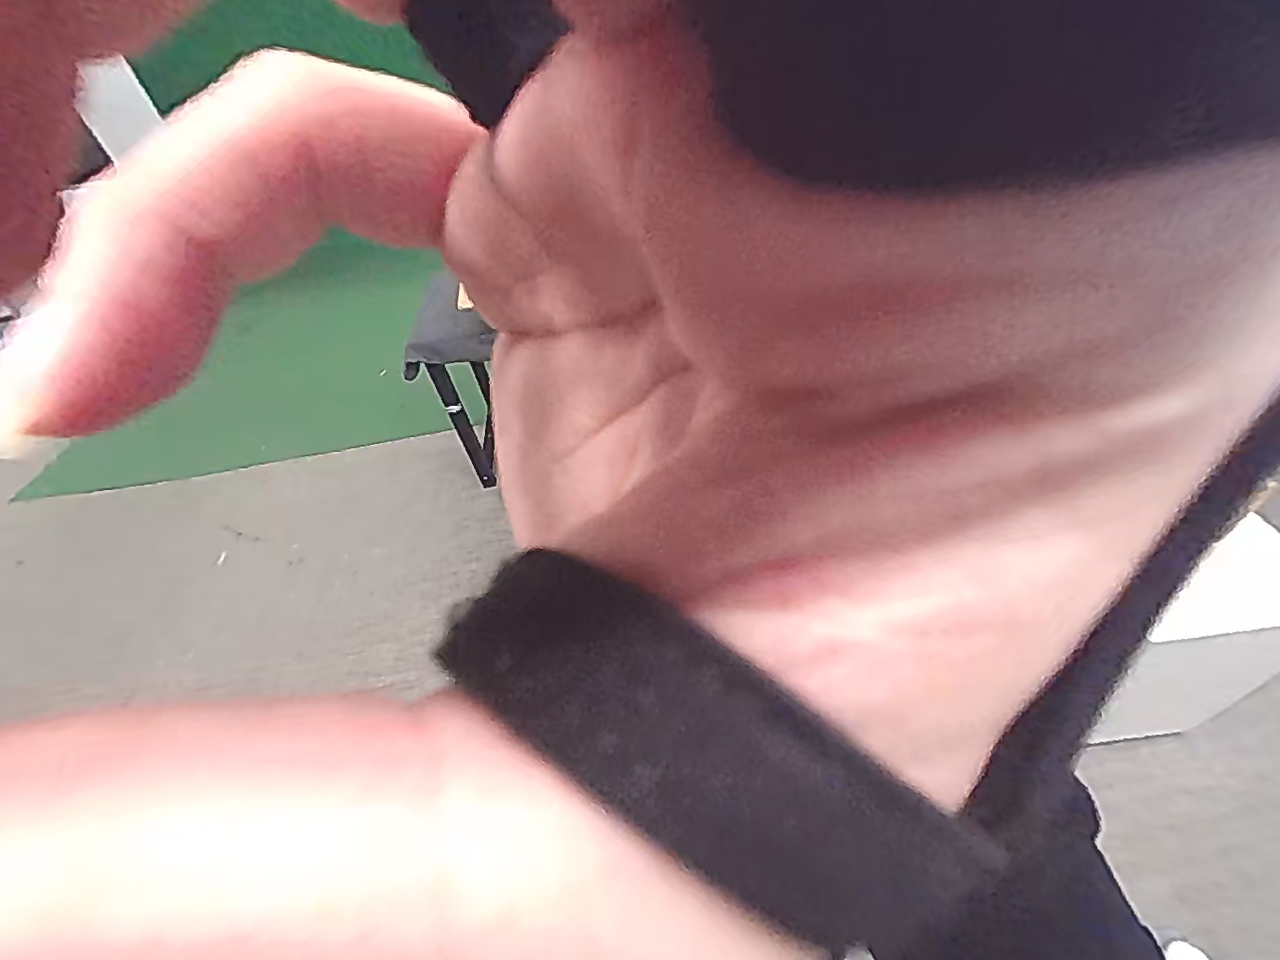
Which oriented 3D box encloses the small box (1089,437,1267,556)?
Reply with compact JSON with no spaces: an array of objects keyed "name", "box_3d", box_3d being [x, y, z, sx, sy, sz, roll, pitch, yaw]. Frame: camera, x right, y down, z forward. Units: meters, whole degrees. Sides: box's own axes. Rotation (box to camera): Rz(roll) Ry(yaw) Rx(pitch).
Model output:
[{"name":"small box","box_3d":[1.080,0.037,1.112,0.179,0.176,0.168,-9,43,-1]}]
